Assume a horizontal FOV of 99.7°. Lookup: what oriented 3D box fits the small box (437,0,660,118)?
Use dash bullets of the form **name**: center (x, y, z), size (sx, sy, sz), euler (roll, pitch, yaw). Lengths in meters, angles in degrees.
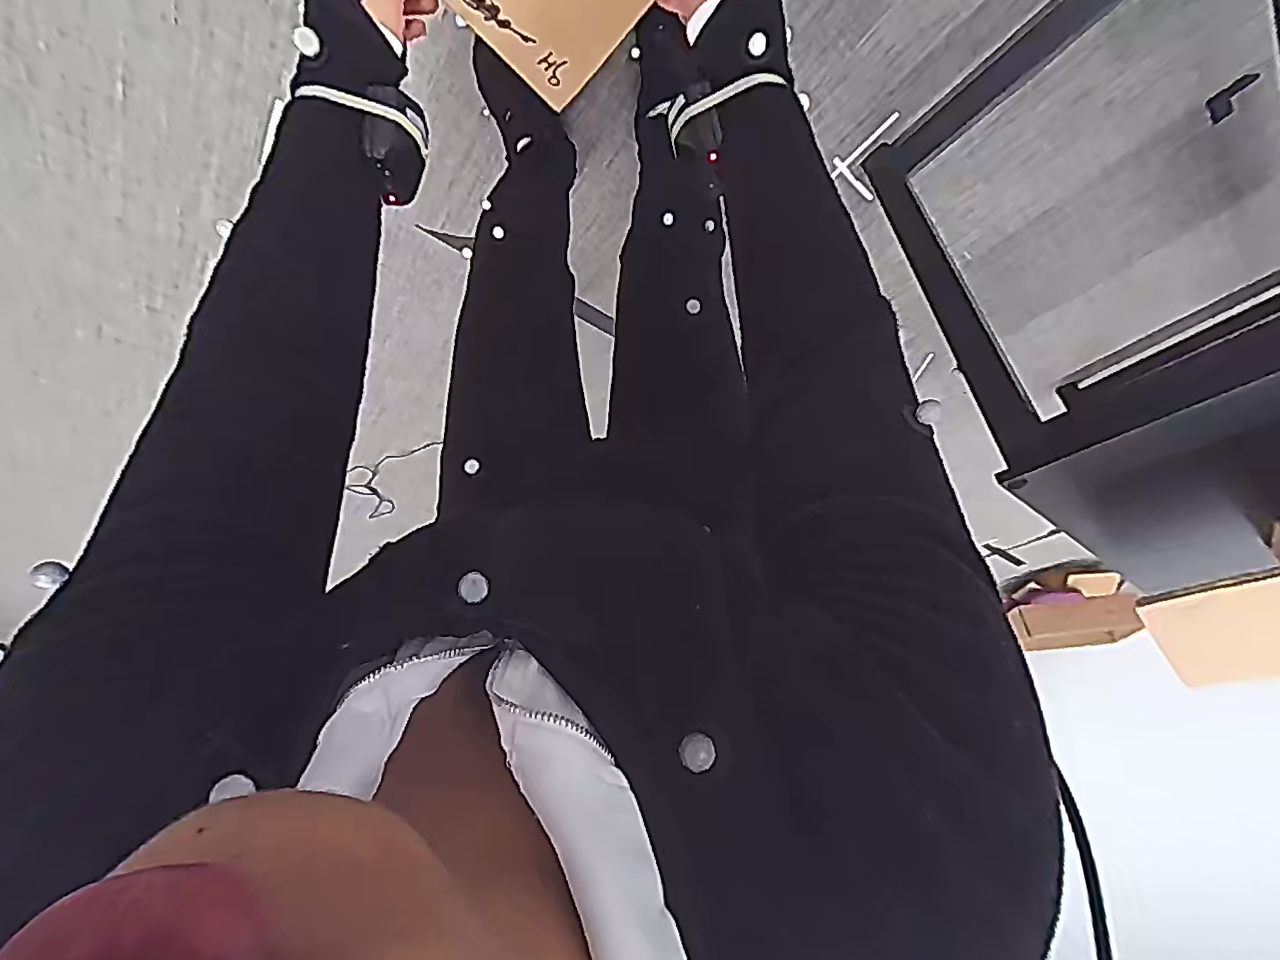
- **small box**: center (-0.077, -0.471, 0.453), size (0.179, 0.176, 0.168), euler (-29, 141, 33)
